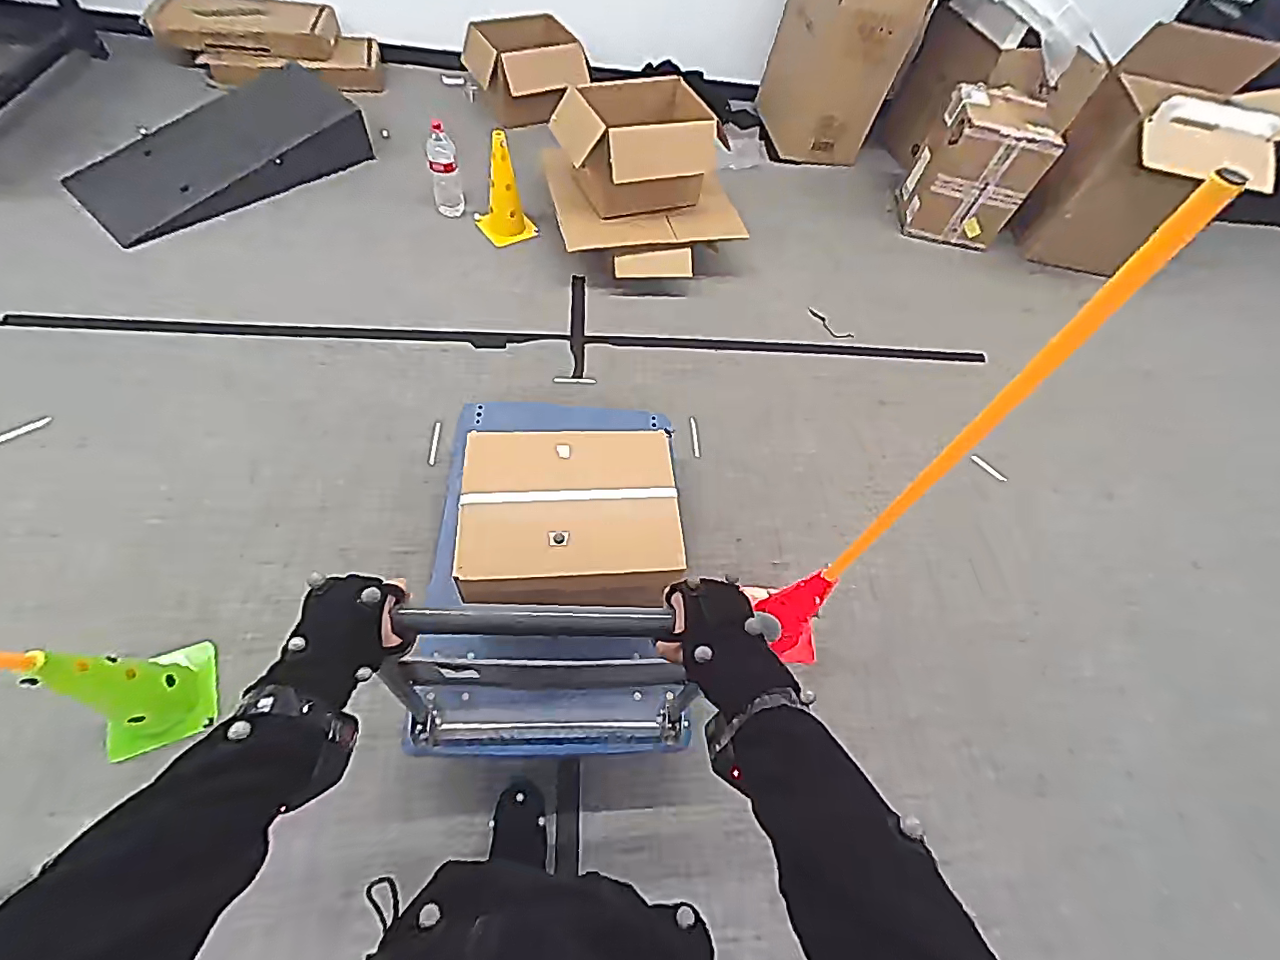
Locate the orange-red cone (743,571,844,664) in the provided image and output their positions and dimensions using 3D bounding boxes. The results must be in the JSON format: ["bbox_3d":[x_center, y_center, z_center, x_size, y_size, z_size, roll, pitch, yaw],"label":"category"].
[{"bbox_3d":[0.395,0.297,1.295,0.199,0.360,0.198,7,59,-5],"label":"orange-red cone"}]
